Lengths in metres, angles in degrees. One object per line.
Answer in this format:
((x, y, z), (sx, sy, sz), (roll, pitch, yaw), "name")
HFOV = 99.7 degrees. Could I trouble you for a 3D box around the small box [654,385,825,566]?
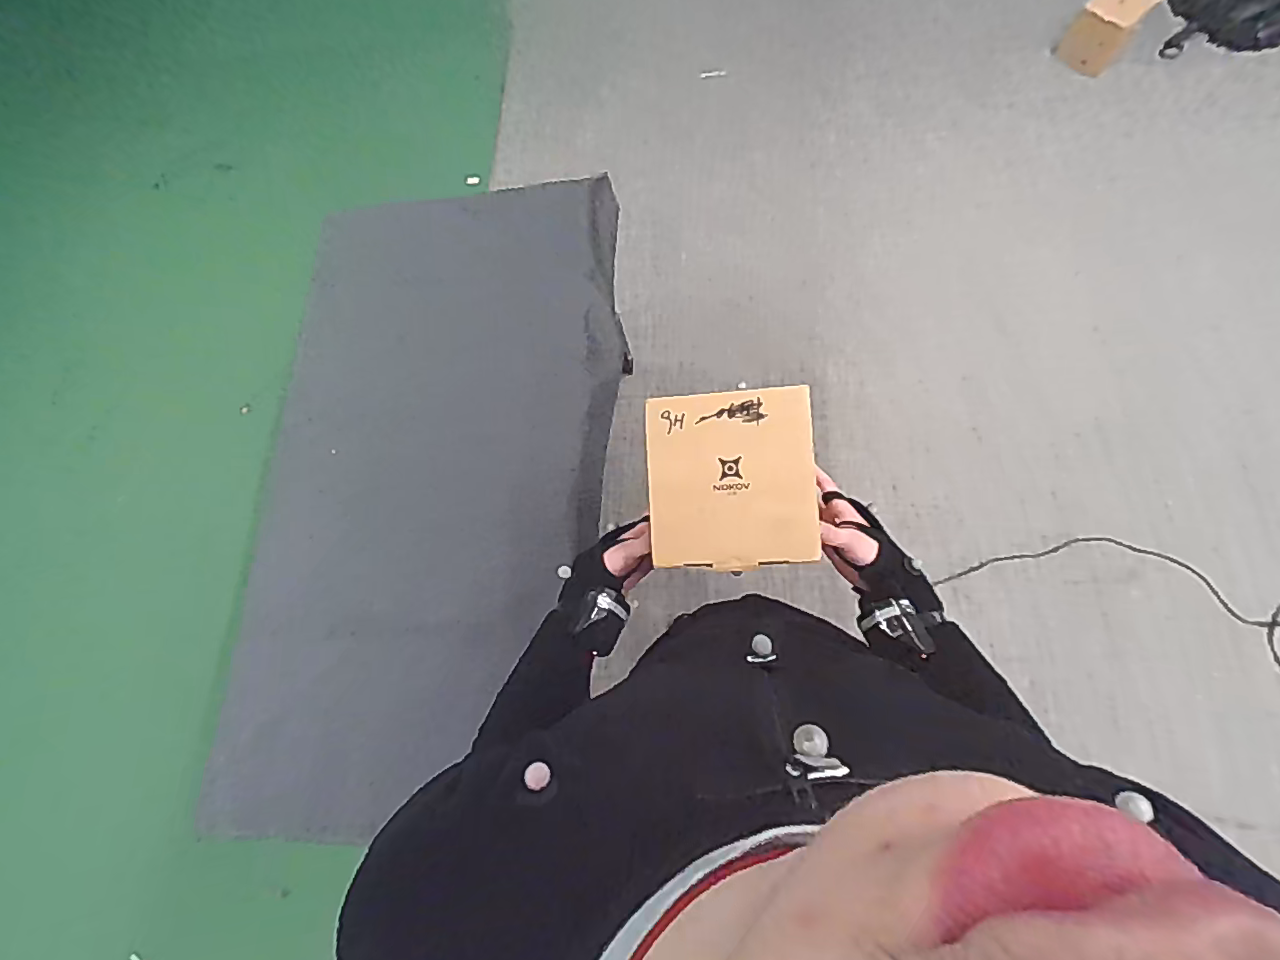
((0.108, 0.001, 0.611), (0.168, 0.176, 0.179), (-2, 85, 8), "small box")
